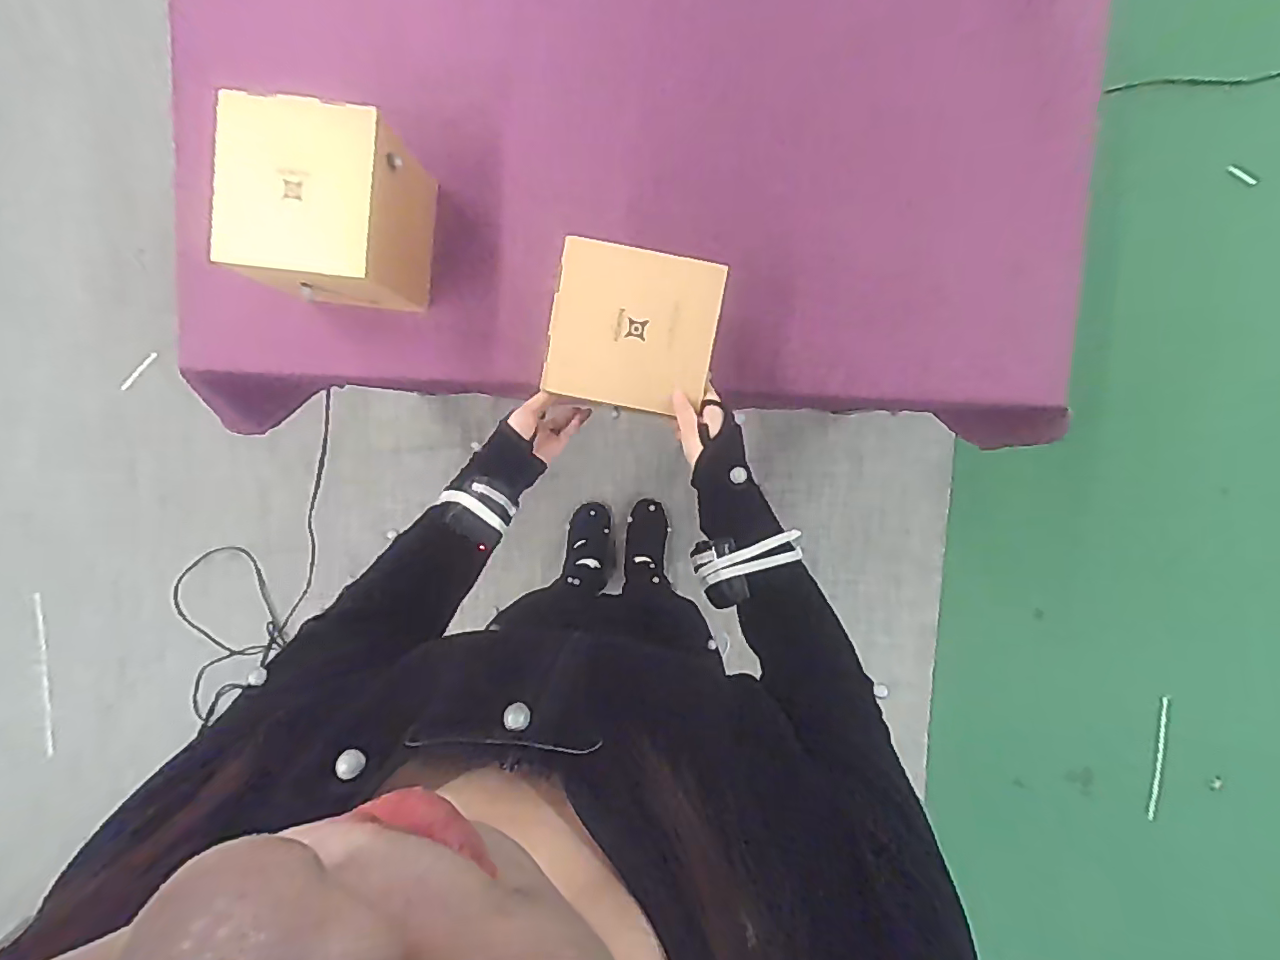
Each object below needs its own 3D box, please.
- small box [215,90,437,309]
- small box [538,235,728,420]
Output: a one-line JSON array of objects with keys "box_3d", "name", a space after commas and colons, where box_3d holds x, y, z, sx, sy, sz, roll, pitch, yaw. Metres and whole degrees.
[{"box_3d": [-0.356, -0.314, 0.643, 0.168, 0.176, 0.179, 7, 94, 0], "name": "small box"}, {"box_3d": [-0.007, -0.167, 0.649, 0.179, 0.176, 0.168, 11, 95, 0], "name": "small box"}]
